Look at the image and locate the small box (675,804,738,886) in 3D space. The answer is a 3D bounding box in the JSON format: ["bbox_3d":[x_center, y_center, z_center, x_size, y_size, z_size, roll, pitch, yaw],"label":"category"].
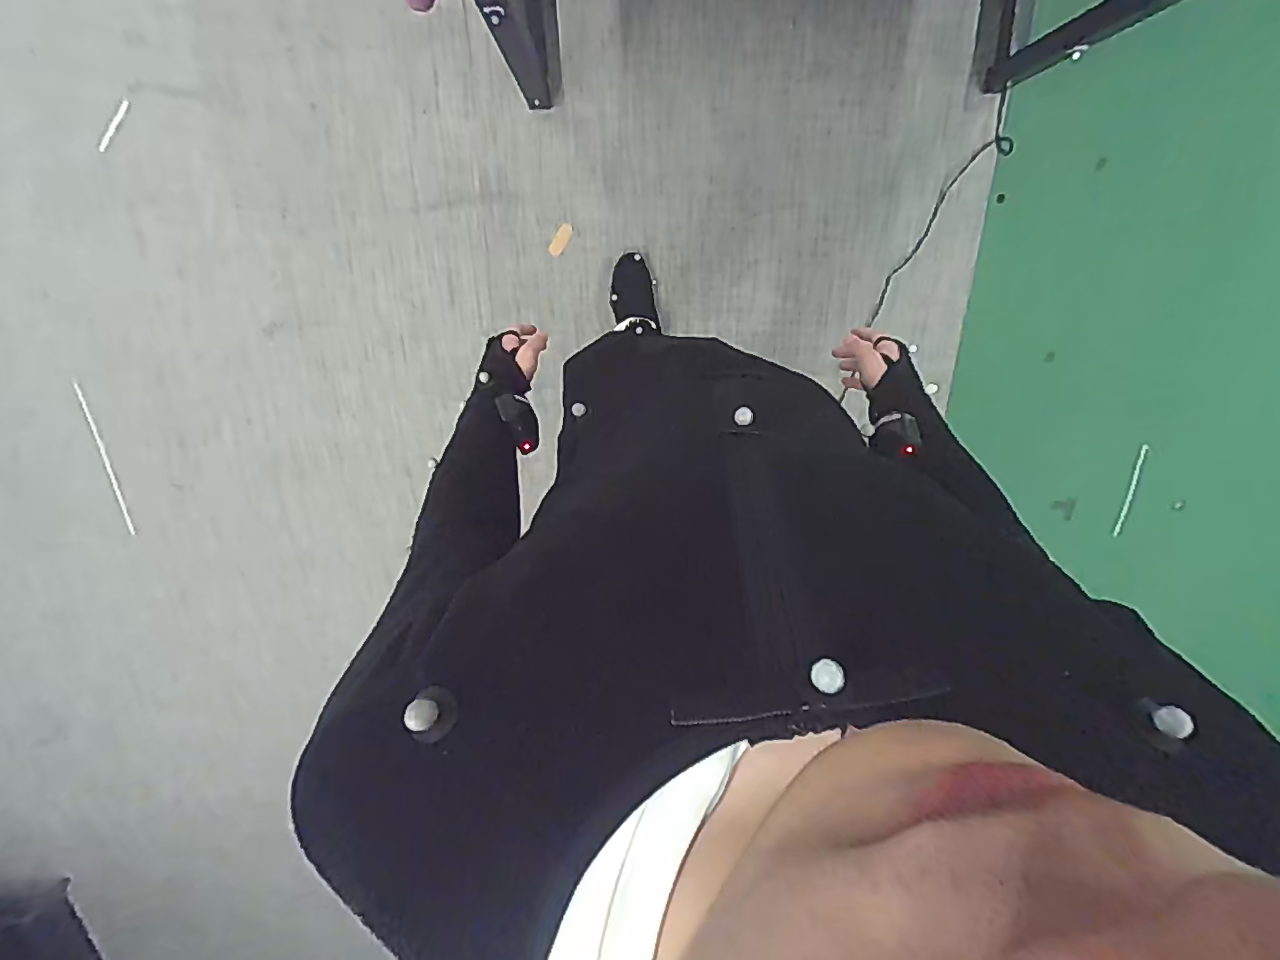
[{"bbox_3d":[0.219,1.241,1.846,0.179,0.176,0.168,7,110,-5],"label":"small box"}]

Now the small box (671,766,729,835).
[{"bbox_3d":[0.216,1.191,2.005,0.179,0.176,0.168,7,110,-4],"label":"small box"}]
